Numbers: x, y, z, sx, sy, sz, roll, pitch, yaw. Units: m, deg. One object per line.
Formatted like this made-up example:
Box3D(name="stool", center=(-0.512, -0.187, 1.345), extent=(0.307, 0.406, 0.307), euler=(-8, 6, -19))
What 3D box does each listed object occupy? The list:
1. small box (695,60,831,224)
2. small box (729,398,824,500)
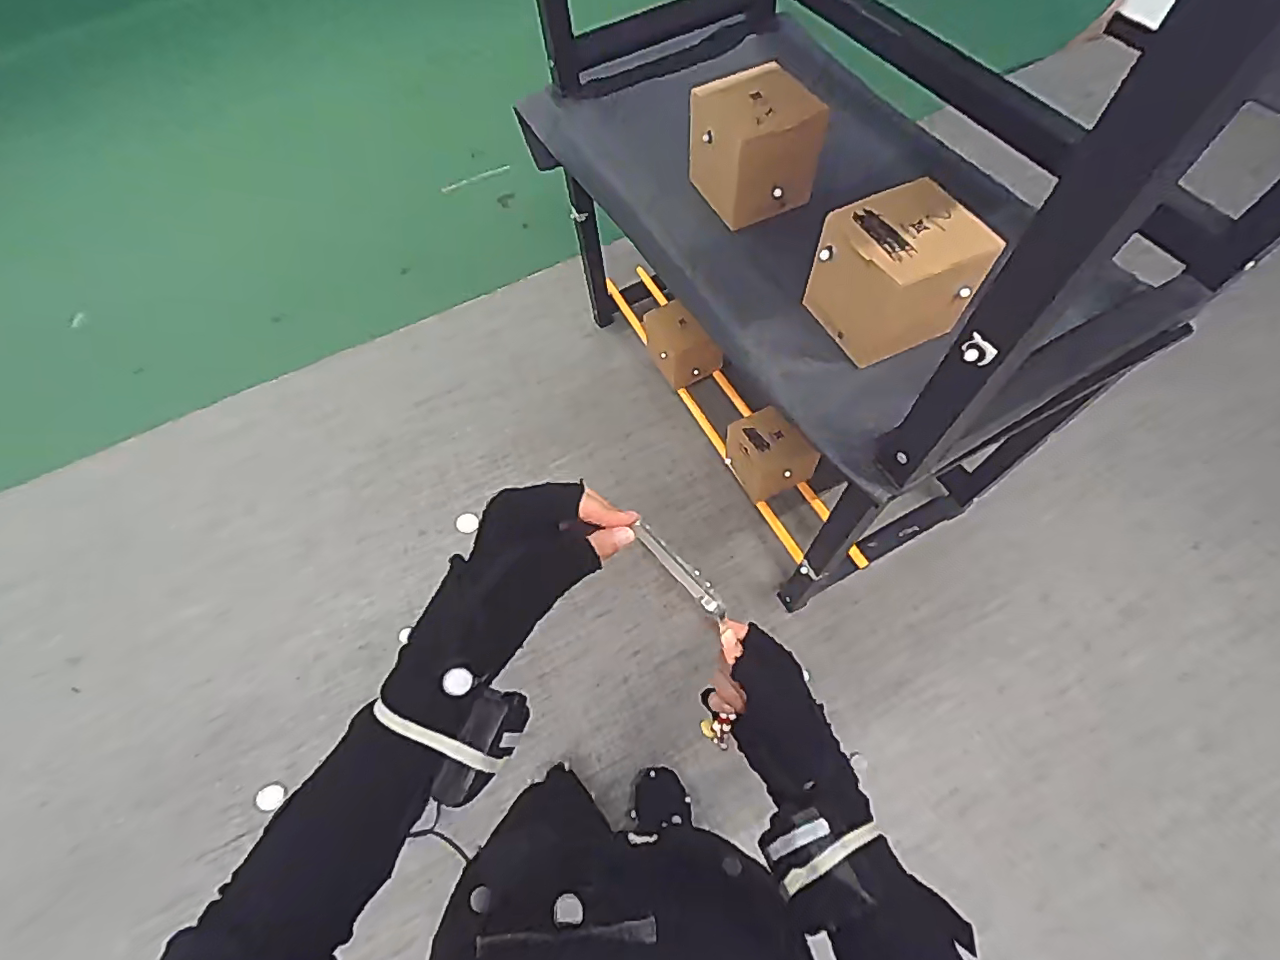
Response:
Box3D(name="small box", center=(0.205, -0.597, 0.966), extent=(0.168, 0.176, 0.179), euler=(-24, 63, -7))
Box3D(name="small box", center=(0.341, -0.073, 1.389), extent=(0.179, 0.176, 0.168), euler=(-24, 64, -7))
